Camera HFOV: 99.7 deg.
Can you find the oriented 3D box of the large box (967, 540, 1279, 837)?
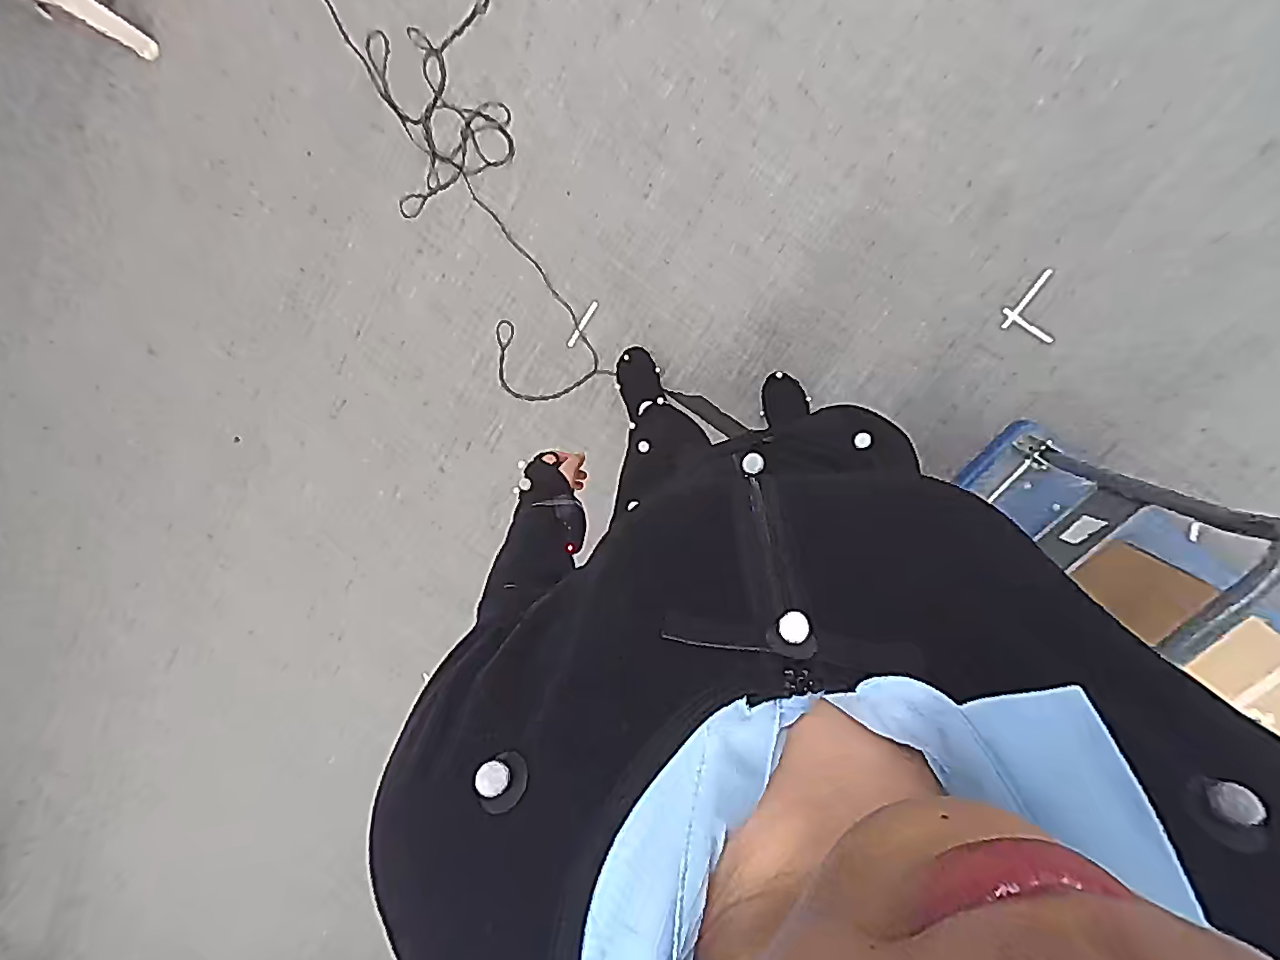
[{"bbox_3d":[0.988,0.401,1.106,0.320,0.320,0.408,39,106,-1],"label":"large box"}]
